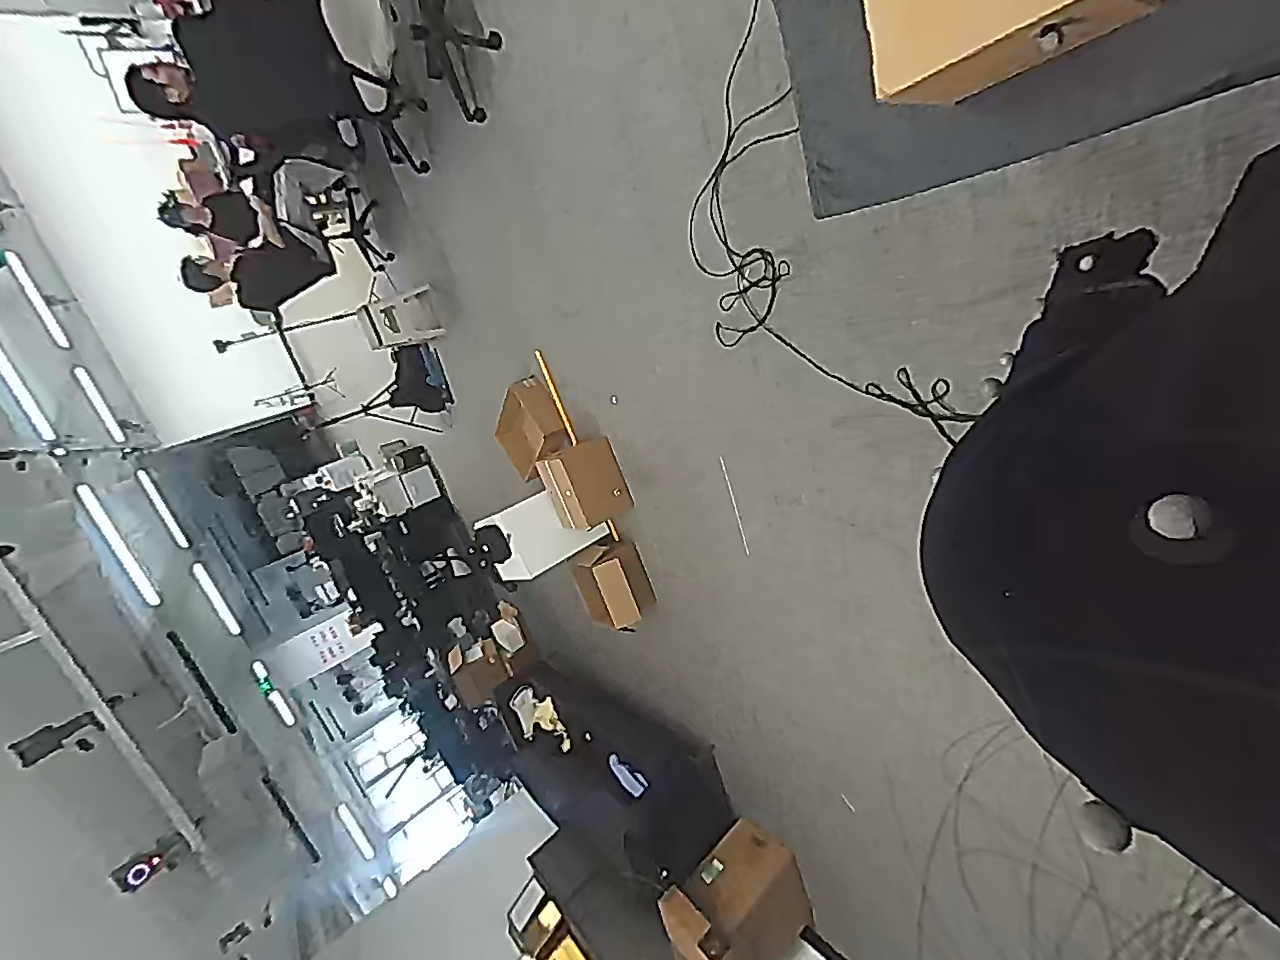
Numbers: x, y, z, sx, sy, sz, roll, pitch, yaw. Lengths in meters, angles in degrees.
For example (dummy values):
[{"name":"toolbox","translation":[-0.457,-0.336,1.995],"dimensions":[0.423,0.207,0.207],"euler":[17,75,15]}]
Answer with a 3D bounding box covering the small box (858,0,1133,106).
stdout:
[{"name":"small box","translation":[0.317,-0.463,0.478],"dimensions":[0.179,0.176,0.168],"euler":[5,116,52]}]
